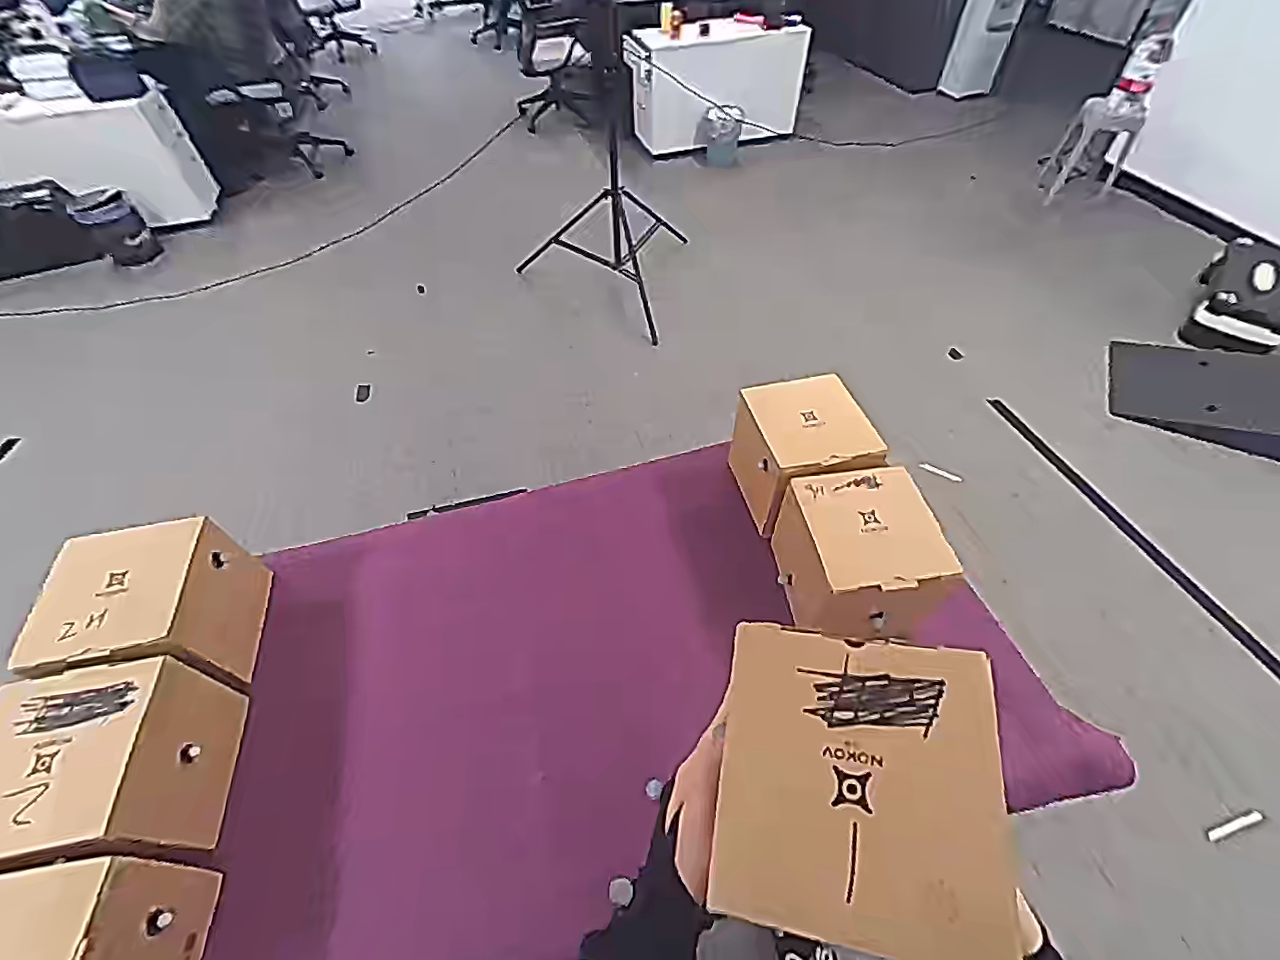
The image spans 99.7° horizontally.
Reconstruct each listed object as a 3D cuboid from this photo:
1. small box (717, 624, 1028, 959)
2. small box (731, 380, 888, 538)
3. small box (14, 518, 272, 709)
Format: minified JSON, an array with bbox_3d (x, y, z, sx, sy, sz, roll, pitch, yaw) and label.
[{"bbox_3d":[0.157,0.228,0.406,0.168,0.176,0.179,2,59,17],"label":"small box"},{"bbox_3d":[0.255,-0.033,0.869,0.168,0.176,0.179,-10,51,-8],"label":"small box"},{"bbox_3d":[-0.626,0.178,0.716,0.168,0.176,0.179,-10,53,-7],"label":"small box"}]
